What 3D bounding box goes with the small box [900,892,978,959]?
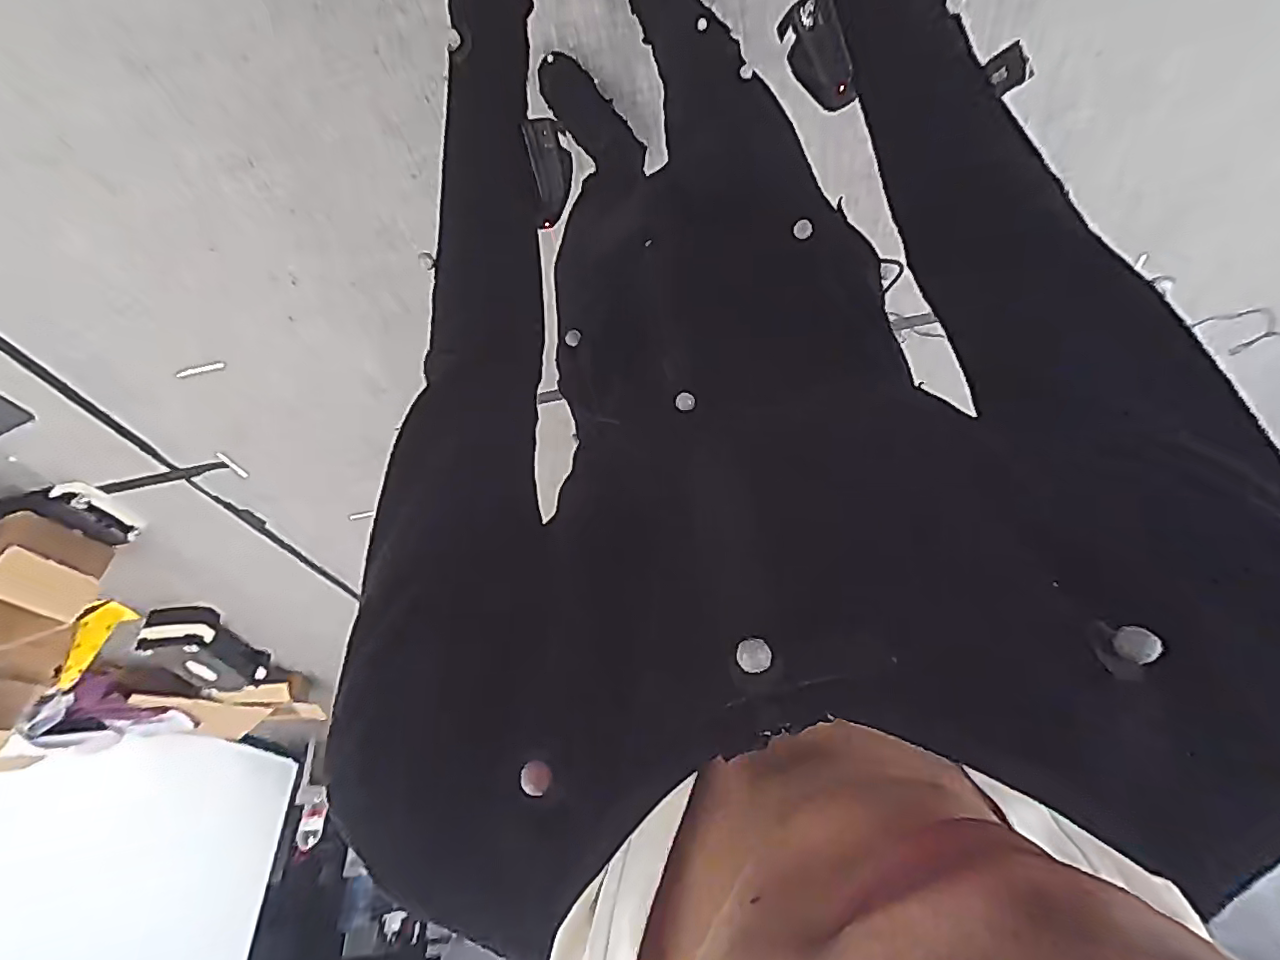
[{"bbox_3d":[0.993,1.499,1.816,0.168,0.176,0.179,-14,140,7],"label":"small box"}]
